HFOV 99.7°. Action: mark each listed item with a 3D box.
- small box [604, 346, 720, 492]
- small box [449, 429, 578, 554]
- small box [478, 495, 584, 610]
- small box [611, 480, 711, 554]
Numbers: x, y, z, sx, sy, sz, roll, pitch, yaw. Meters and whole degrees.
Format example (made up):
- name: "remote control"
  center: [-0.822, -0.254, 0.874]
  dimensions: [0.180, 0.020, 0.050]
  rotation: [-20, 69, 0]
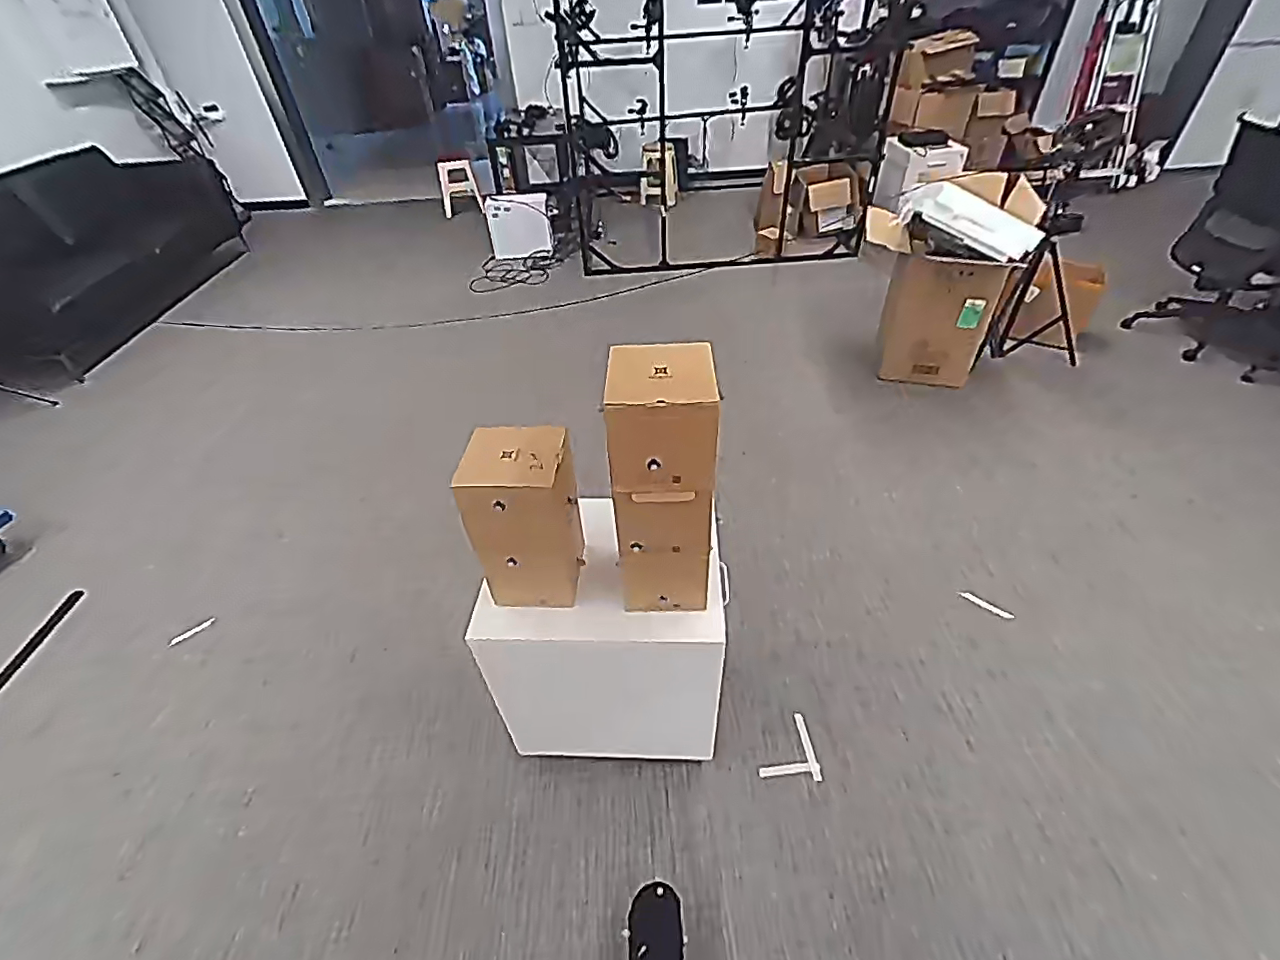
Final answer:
- name: "small box"
  center: [0.034, -0.099, 0.868]
  dimensions: [0.168, 0.176, 0.179]
  rotation: [-2, 42, 2]
- name: "small box"
  center: [-0.220, 0.022, 0.993]
  dimensions: [0.179, 0.176, 0.168]
  rotation: [0, 43, 4]
- name: "small box"
  center: [-0.212, 0.142, 1.106]
  dimensions: [0.168, 0.176, 0.179]
  rotation: [0, 41, 4]
- name: "small box"
  center: [0.041, 0.021, 0.978]
  dimensions: [0.168, 0.176, 0.179]
  rotation: [-2, 41, 3]
